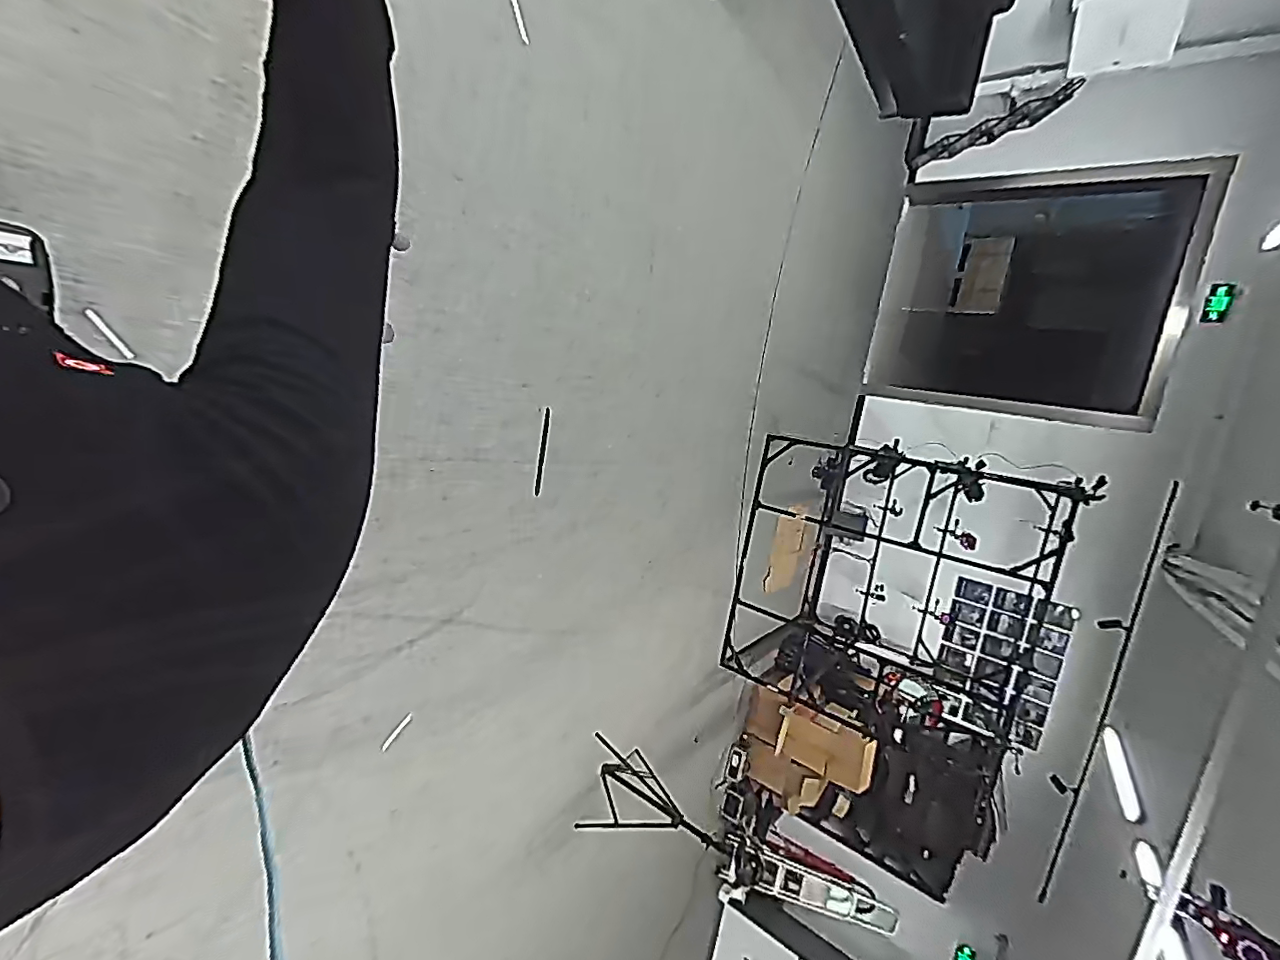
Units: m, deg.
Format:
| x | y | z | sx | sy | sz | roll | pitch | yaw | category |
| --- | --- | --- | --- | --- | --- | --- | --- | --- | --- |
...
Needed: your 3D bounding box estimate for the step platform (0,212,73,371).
| x | y | z | sx | sy | sz | roll | pitch | yaw | category |
| --- | --- | --- | --- | --- | --- | --- | --- | --- | --- |
| -1.351 | -0.351 | 0.817 | 0.684 | 0.204 | 0.286 | -3 | 106 | -56 | step platform |
